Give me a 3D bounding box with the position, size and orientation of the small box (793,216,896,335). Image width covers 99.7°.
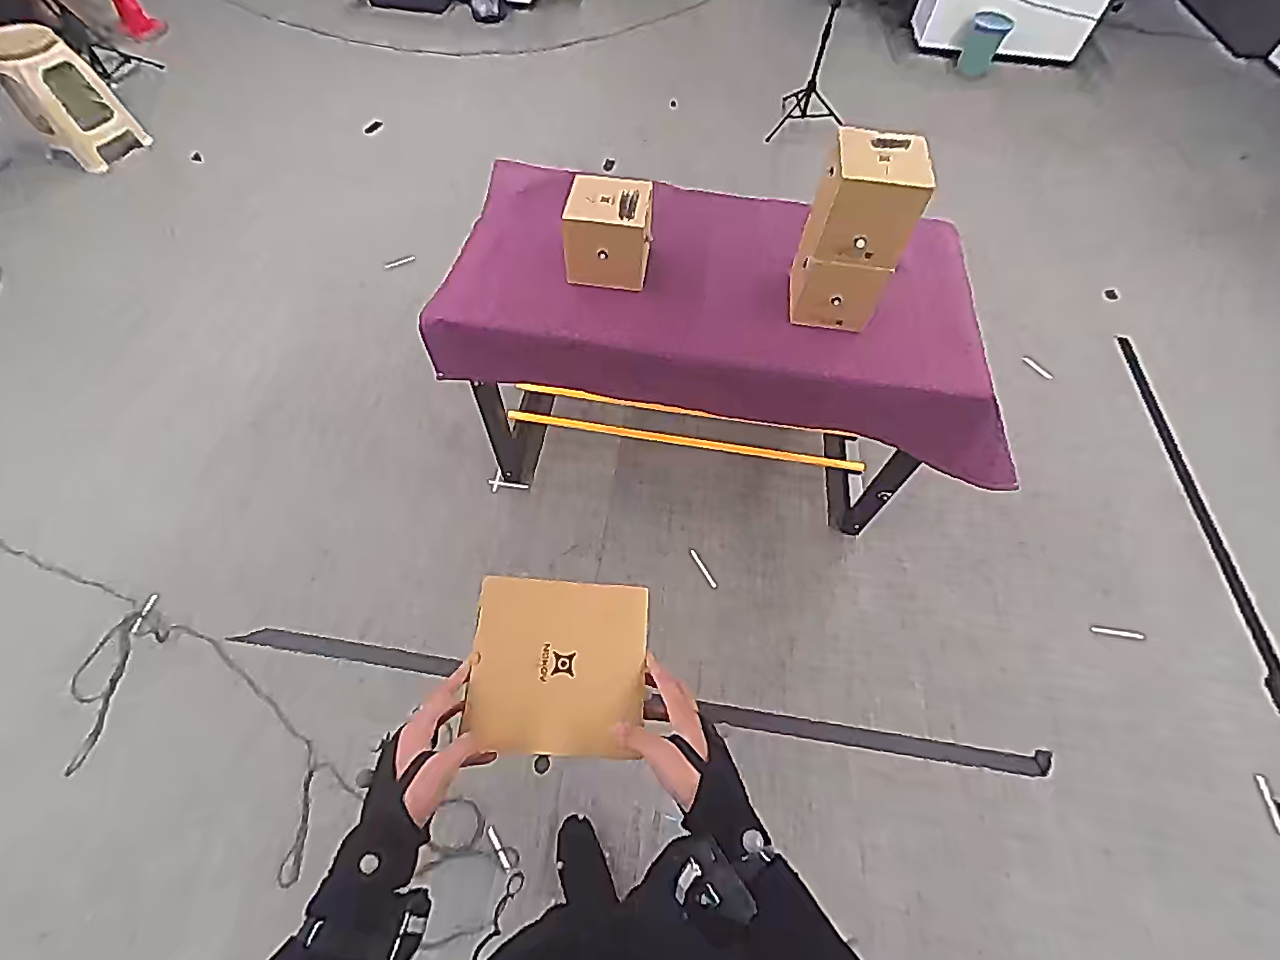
[{"bbox_3d":[0.442,-0.446,1.193,0.168,0.176,0.179,9,59,2],"label":"small box"}]

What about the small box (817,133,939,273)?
[{"bbox_3d":[0.451,-0.537,1.057,0.168,0.176,0.179,9,60,3],"label":"small box"}]

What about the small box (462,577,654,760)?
[{"bbox_3d":[-0.084,0.215,0.614,0.179,0.176,0.168,5,66,-3],"label":"small box"}]
